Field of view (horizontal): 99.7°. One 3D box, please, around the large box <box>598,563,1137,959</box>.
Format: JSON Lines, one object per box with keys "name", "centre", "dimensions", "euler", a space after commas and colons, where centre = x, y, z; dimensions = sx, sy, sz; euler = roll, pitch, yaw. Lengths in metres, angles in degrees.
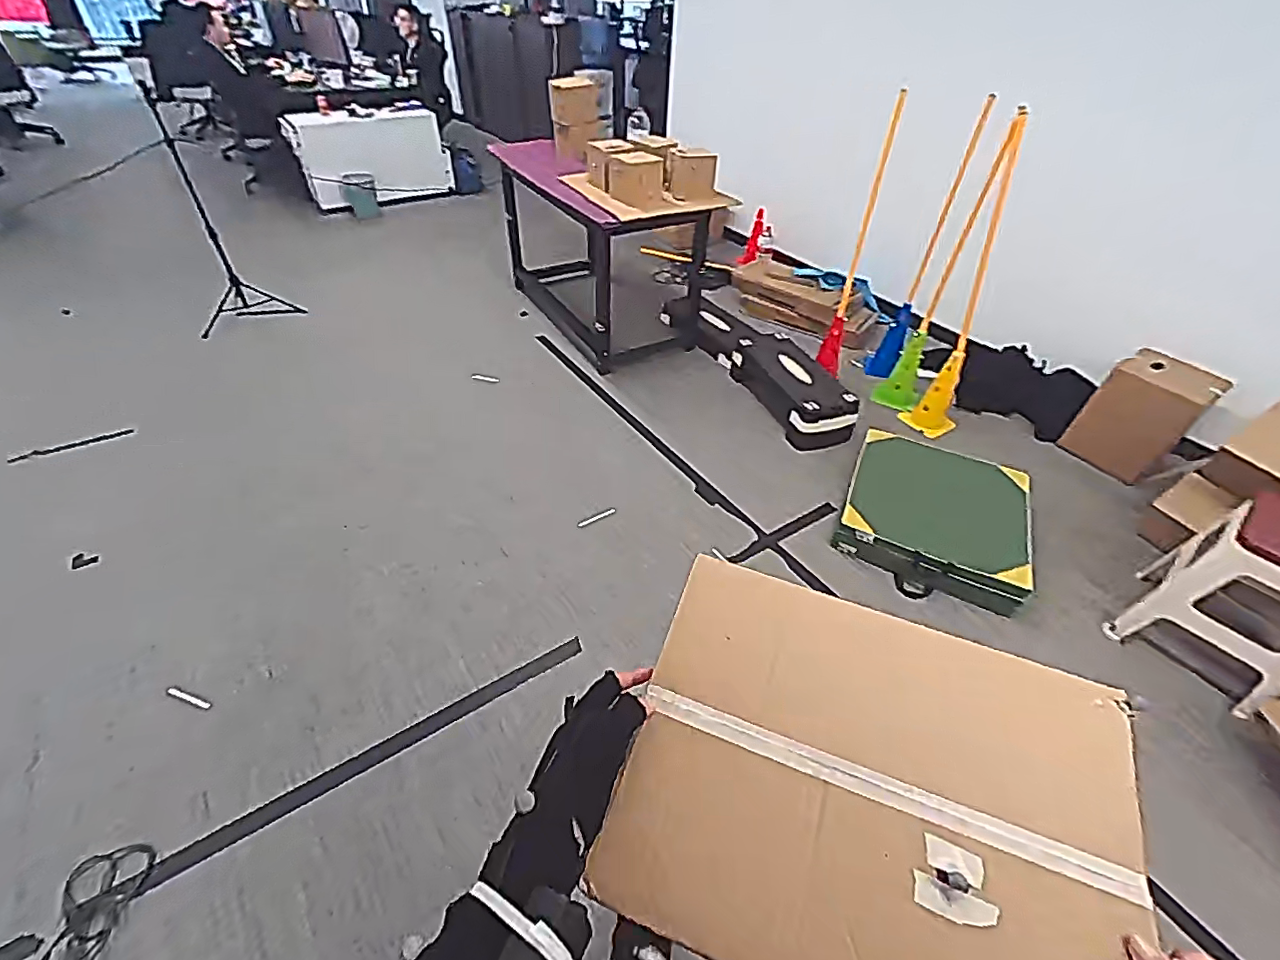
{"name": "large box", "centre": [0.203, 0.344, 0.593], "dimensions": [0.408, 0.320, 0.320], "euler": [17, 58, 13]}
